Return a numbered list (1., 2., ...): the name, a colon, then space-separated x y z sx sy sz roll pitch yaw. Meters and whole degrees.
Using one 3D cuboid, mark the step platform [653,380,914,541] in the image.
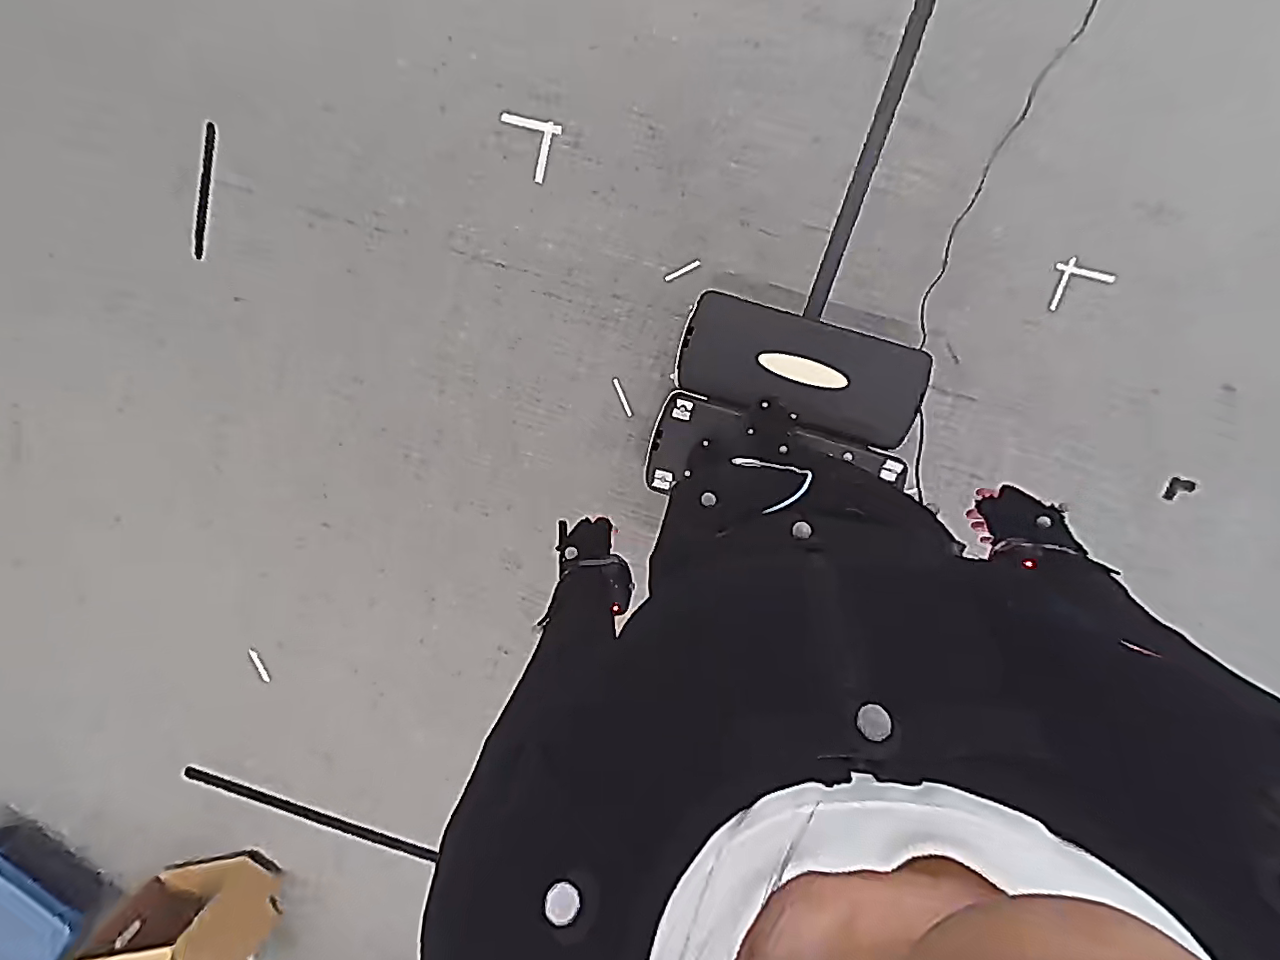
1. step platform: 0.383 -0.058 1.512 0.684 0.204 0.286 16 101 4
